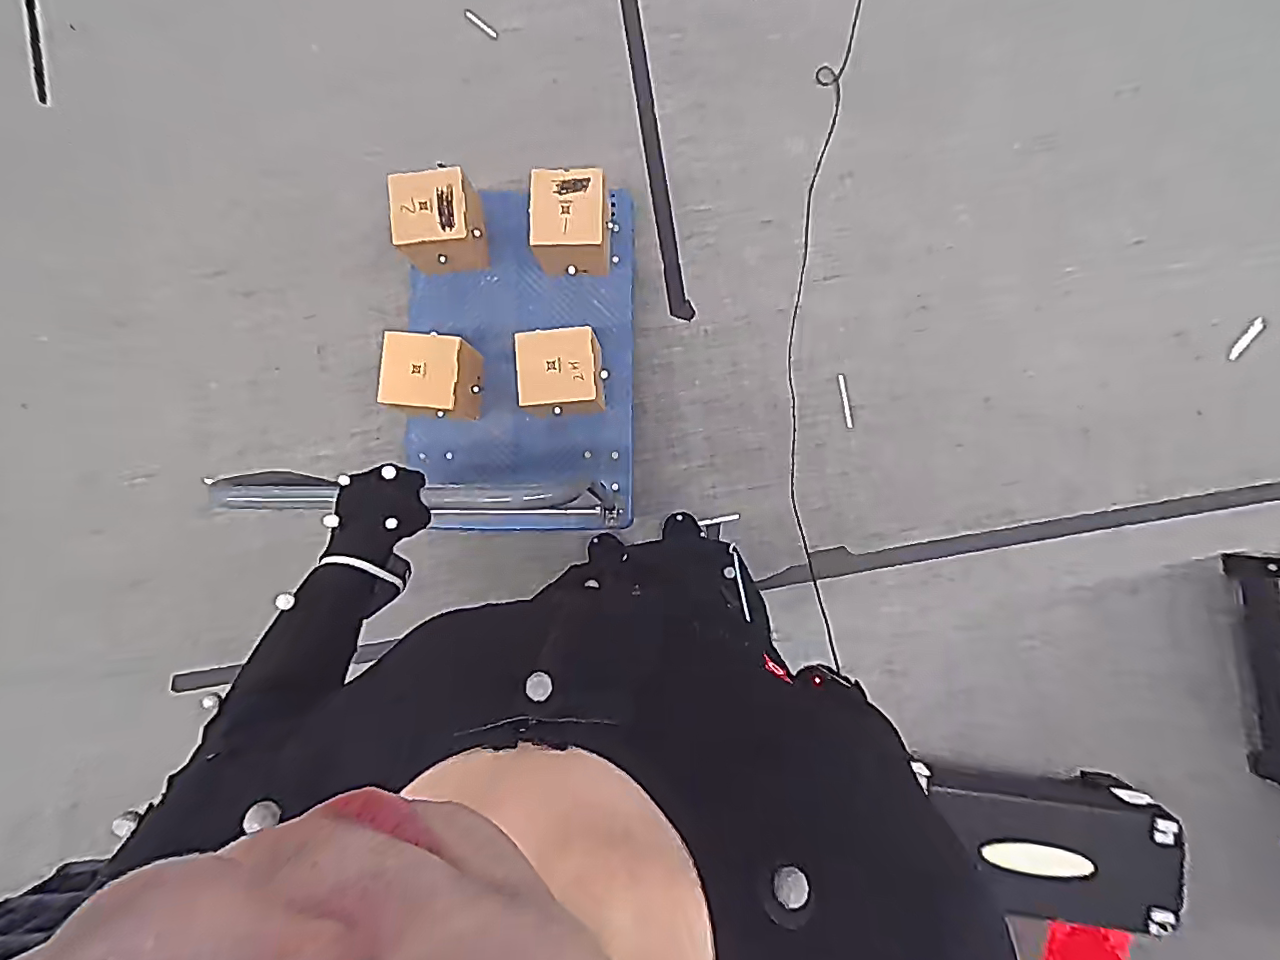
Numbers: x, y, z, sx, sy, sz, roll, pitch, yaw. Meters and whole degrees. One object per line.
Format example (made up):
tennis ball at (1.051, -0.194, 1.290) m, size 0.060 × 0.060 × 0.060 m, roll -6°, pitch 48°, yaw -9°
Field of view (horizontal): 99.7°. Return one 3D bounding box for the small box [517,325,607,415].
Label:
small box at (-0.178, -0.251, 1.273) m, size 0.179 × 0.176 × 0.168 m, roll -5°, pitch 88°, yaw 3°

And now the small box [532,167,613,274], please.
small box at (-0.156, -0.612, 1.286) m, size 0.168 × 0.176 × 0.179 m, roll 1°, pitch 89°, yaw 3°

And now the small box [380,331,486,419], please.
small box at (-0.486, -0.245, 1.290) m, size 0.179 × 0.176 × 0.168 m, roll 5°, pitch 87°, yaw 1°
